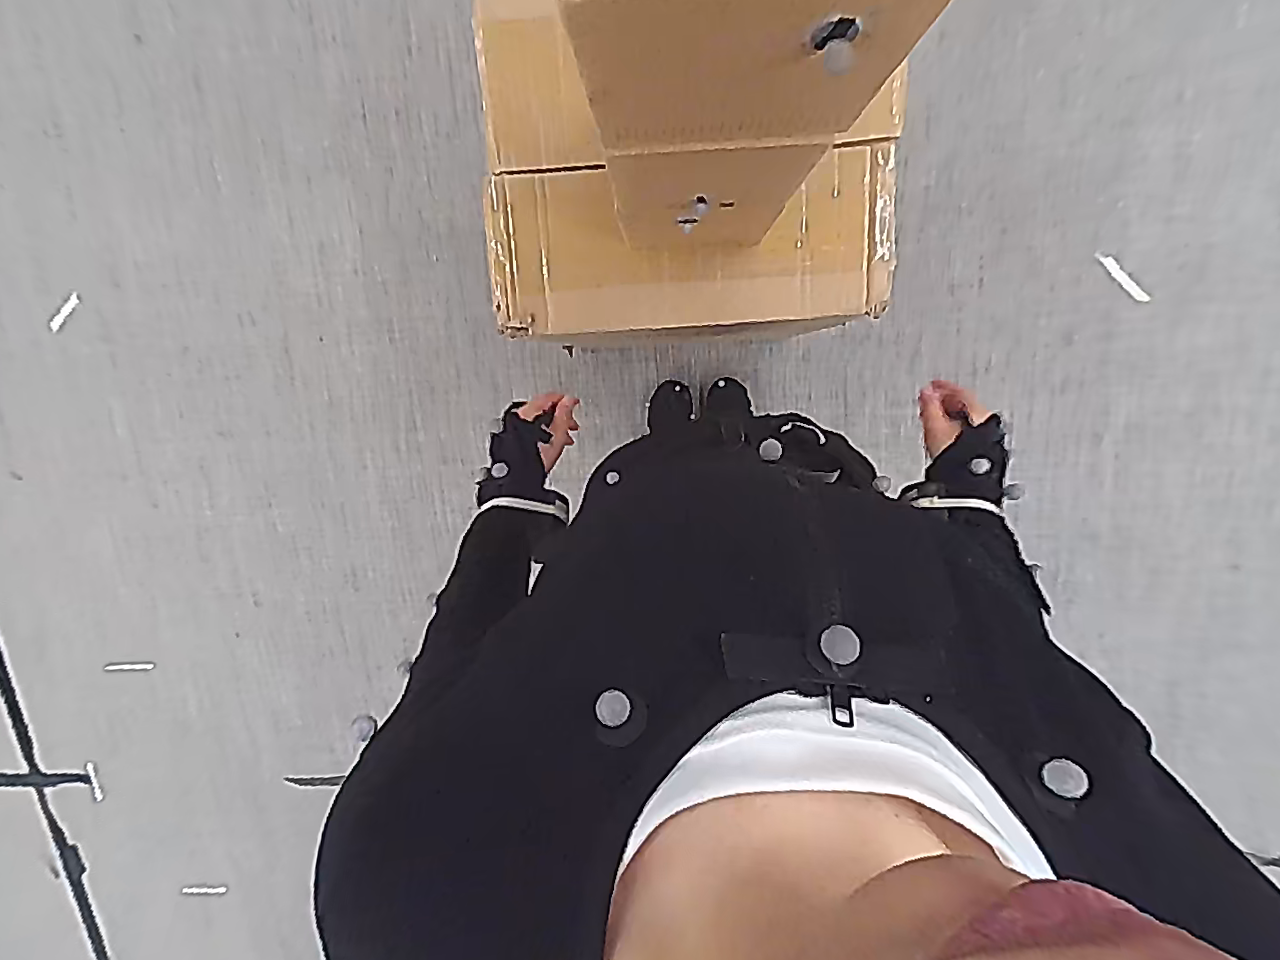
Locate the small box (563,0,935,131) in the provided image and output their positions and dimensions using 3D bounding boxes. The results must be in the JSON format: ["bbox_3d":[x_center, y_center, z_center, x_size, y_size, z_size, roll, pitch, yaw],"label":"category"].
[{"bbox_3d":[0.052,-0.307,0.279,0.179,0.176,0.168,-2,102,4],"label":"small box"}]

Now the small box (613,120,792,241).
[{"bbox_3d":[0.064,-0.373,0.601,0.179,0.176,0.168,-1,102,3],"label":"small box"}]
